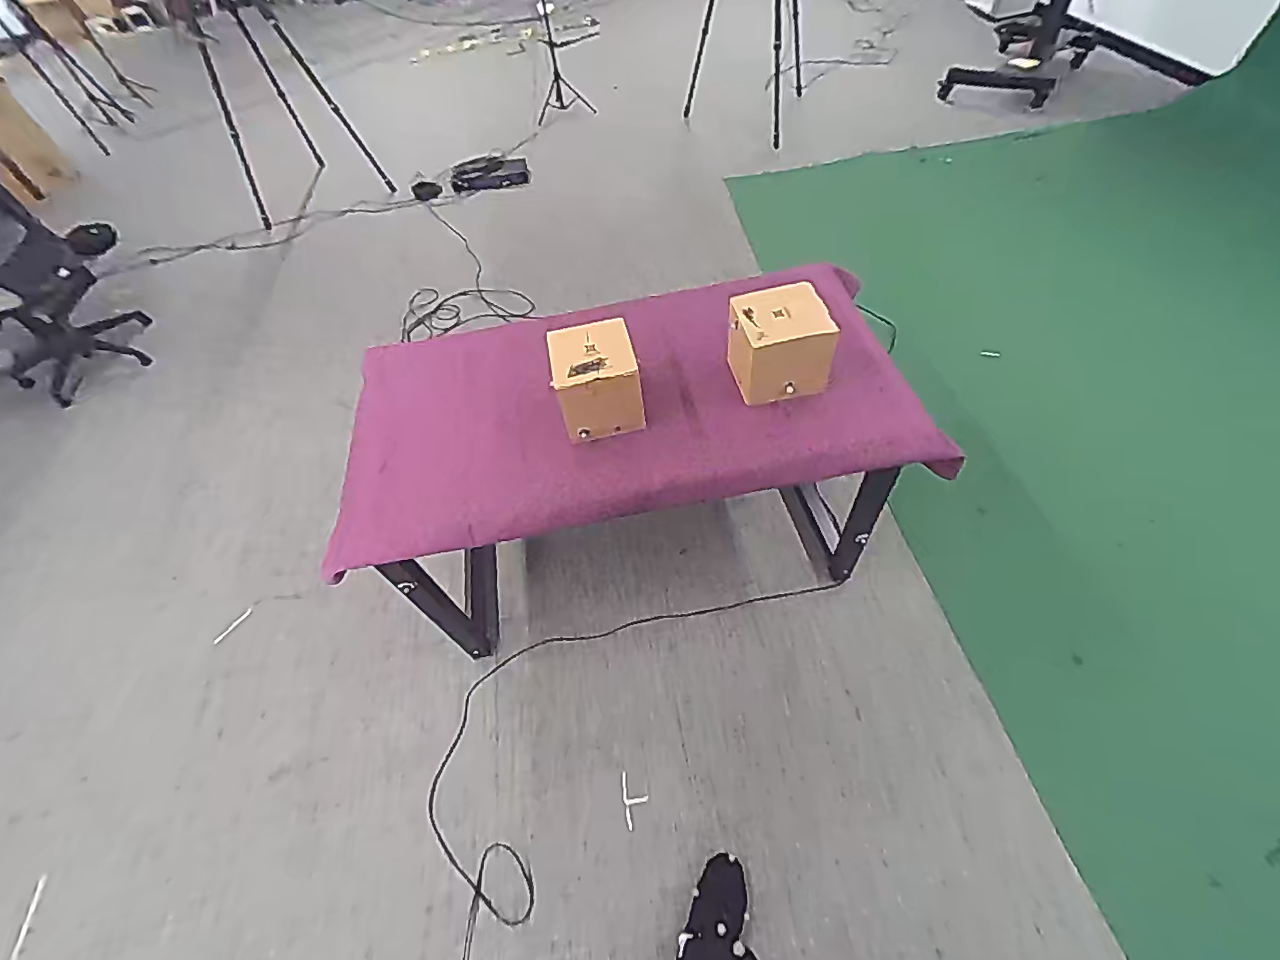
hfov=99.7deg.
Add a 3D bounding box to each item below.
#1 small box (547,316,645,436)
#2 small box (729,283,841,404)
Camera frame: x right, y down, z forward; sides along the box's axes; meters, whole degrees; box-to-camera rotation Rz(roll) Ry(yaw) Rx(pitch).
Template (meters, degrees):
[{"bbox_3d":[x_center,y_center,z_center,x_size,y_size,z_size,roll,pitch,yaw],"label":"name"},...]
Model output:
[{"bbox_3d":[-0.089,-0.208,1.129,0.168,0.176,0.179,-12,53,-3],"label":"small box"},{"bbox_3d":[0.295,-0.284,1.143,0.179,0.176,0.168,-11,54,-2],"label":"small box"}]
